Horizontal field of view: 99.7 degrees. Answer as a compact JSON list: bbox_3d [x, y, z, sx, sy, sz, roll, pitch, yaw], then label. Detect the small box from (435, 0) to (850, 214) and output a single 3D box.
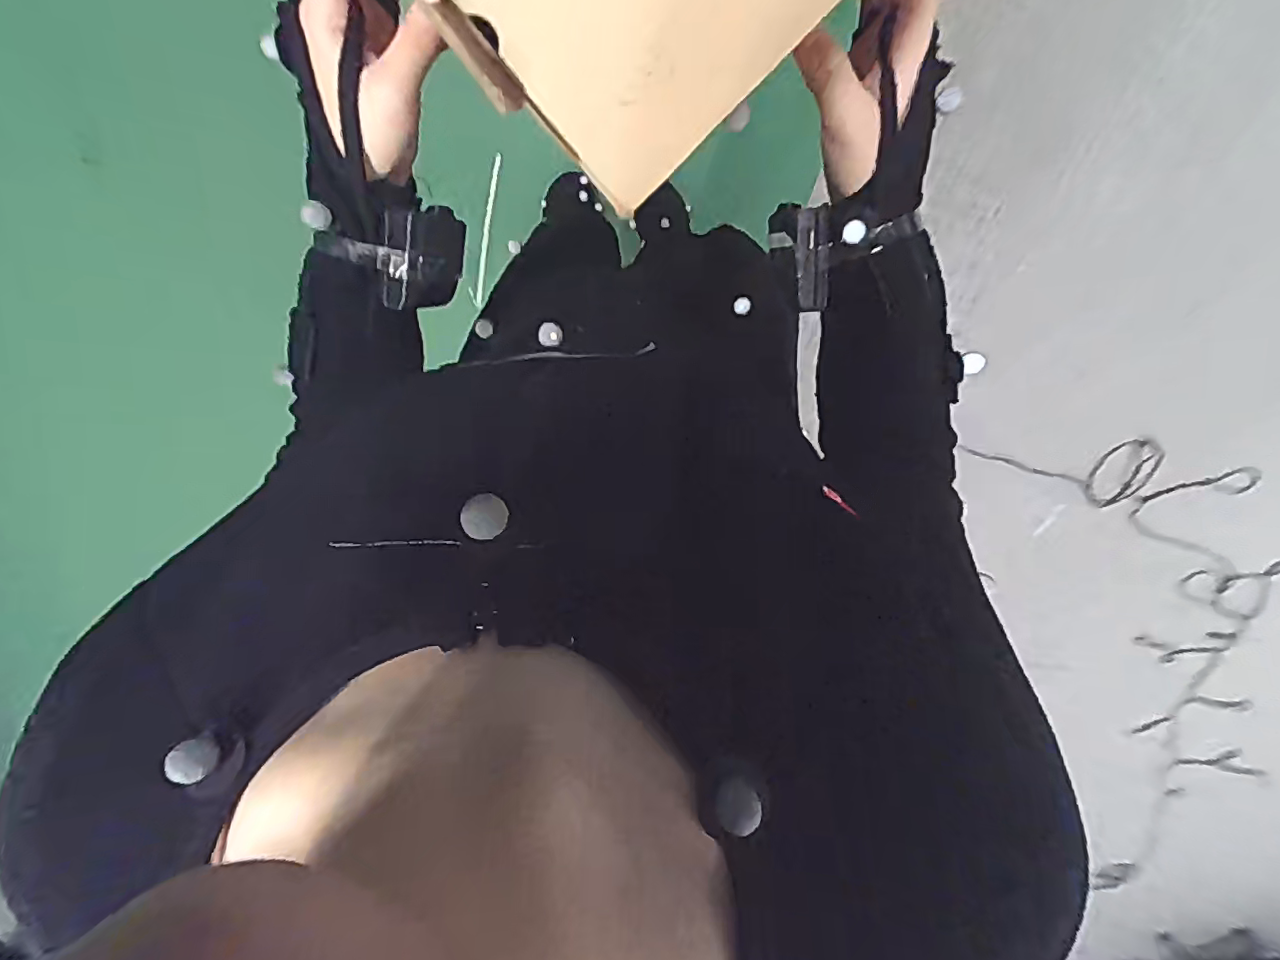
[{"bbox_3d":[0.002,-0.258,0.256,0.179,0.176,0.168,-37,114,19],"label":"small box"}]
